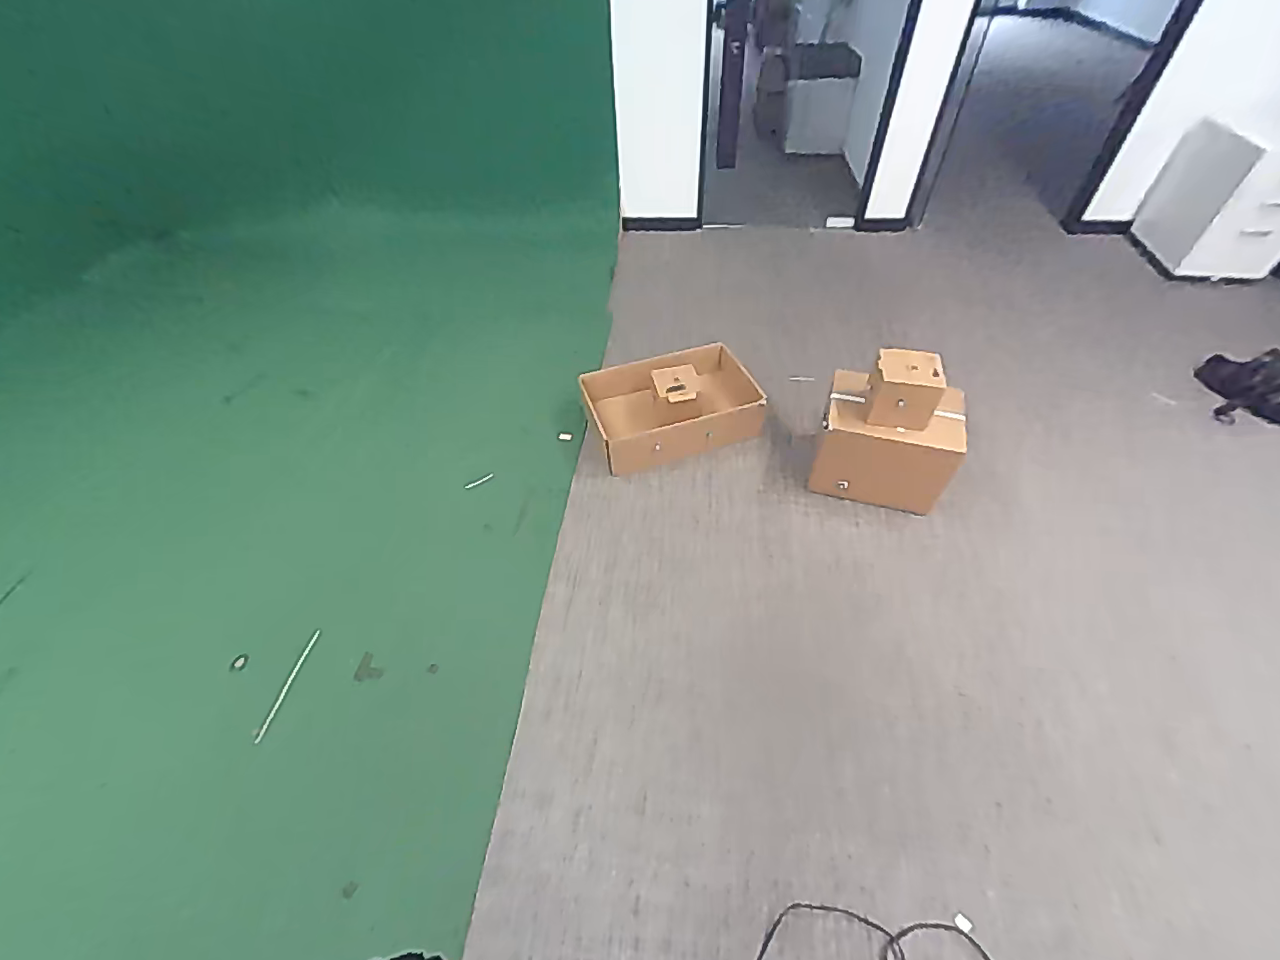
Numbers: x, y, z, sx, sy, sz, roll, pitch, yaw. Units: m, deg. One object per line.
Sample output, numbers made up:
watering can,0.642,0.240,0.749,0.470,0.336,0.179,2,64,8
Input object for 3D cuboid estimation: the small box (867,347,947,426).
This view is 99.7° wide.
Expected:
small box,0.801,-0.283,1.644,0.179,0.176,0.168,8,50,10

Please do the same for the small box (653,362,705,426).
small box,0.148,-0.320,2.056,0.168,0.176,0.179,-10,47,-5
